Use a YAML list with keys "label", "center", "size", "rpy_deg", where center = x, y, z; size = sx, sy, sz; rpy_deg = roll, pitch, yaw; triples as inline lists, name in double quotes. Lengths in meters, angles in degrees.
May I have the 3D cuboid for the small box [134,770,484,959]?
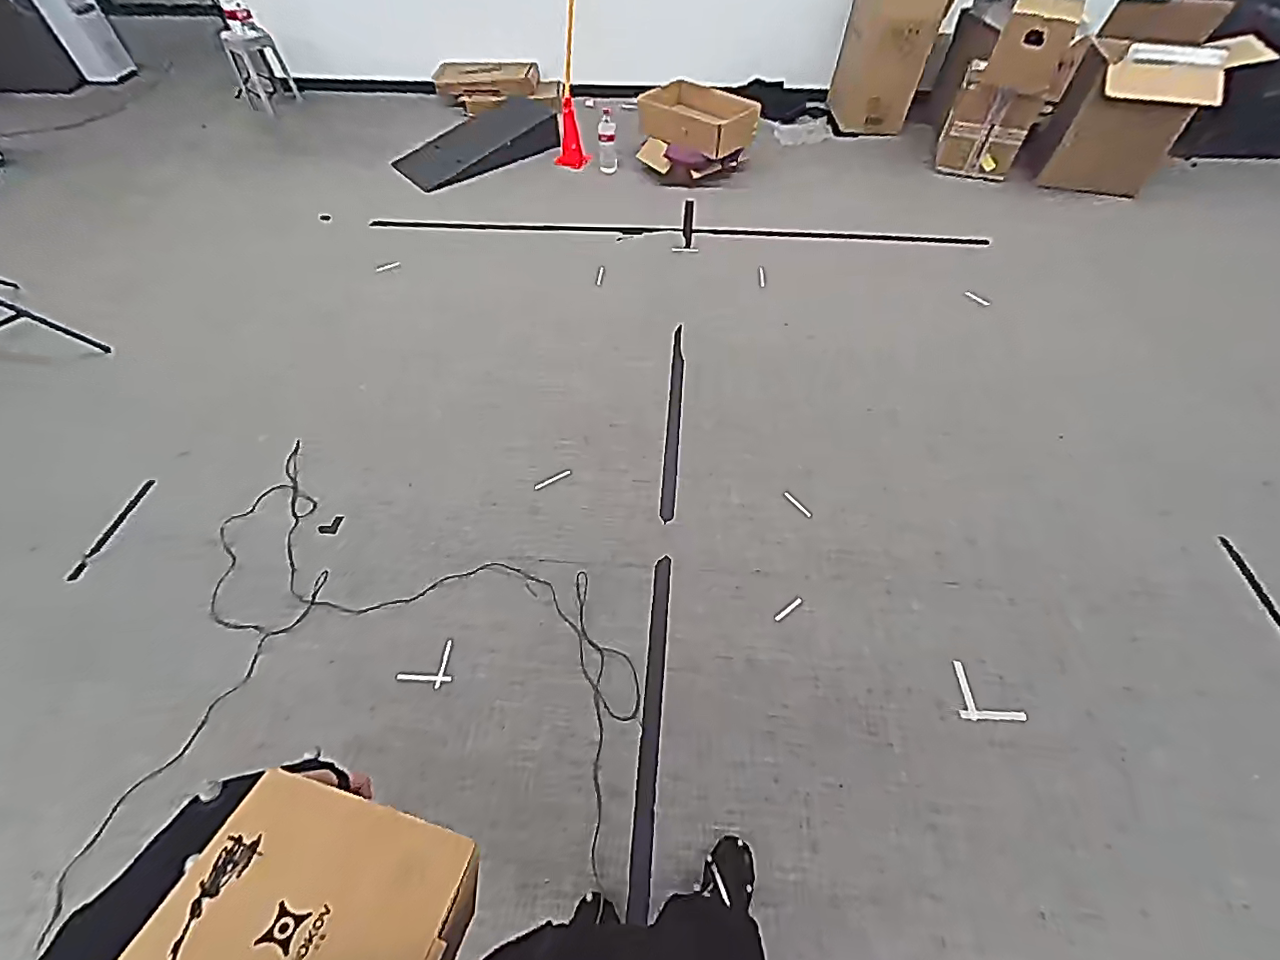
- label: "small box"
  center: [-0.235, 0.358, 0.403]
  size: [0.179, 0.176, 0.168]
  rpy_deg: [17, 37, 3]
